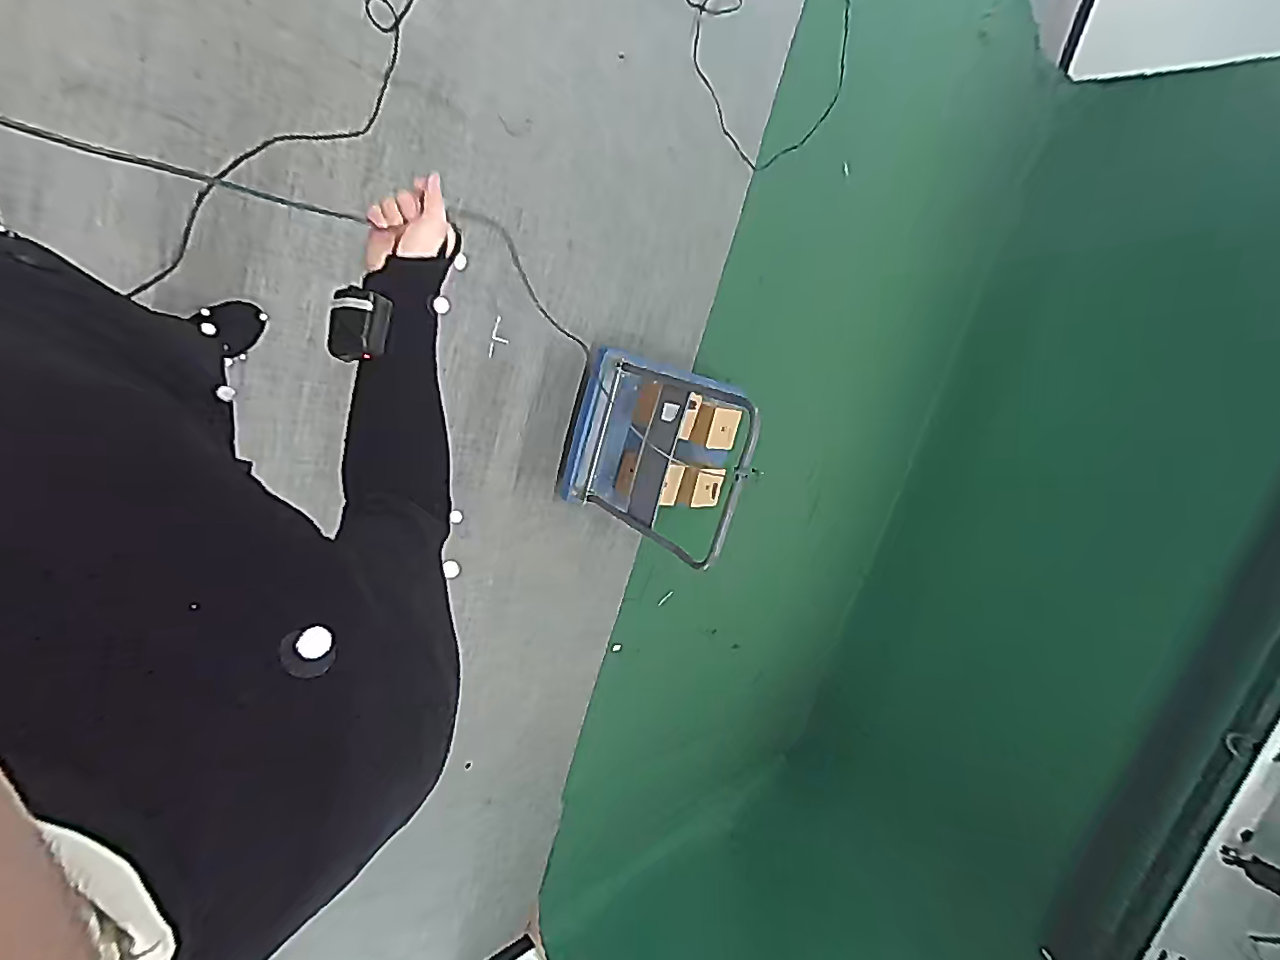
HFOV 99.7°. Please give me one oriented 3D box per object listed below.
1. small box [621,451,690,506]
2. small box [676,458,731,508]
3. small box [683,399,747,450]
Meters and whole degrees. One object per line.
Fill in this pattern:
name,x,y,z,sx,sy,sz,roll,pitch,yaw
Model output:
small box,0.059,-0.006,2.085,0.179,0.176,0.168,6,104,-45
small box,0.249,0.010,2.277,0.179,0.176,0.168,0,108,-43
small box,0.303,-0.229,2.218,0.179,0.176,0.168,0,110,-44
